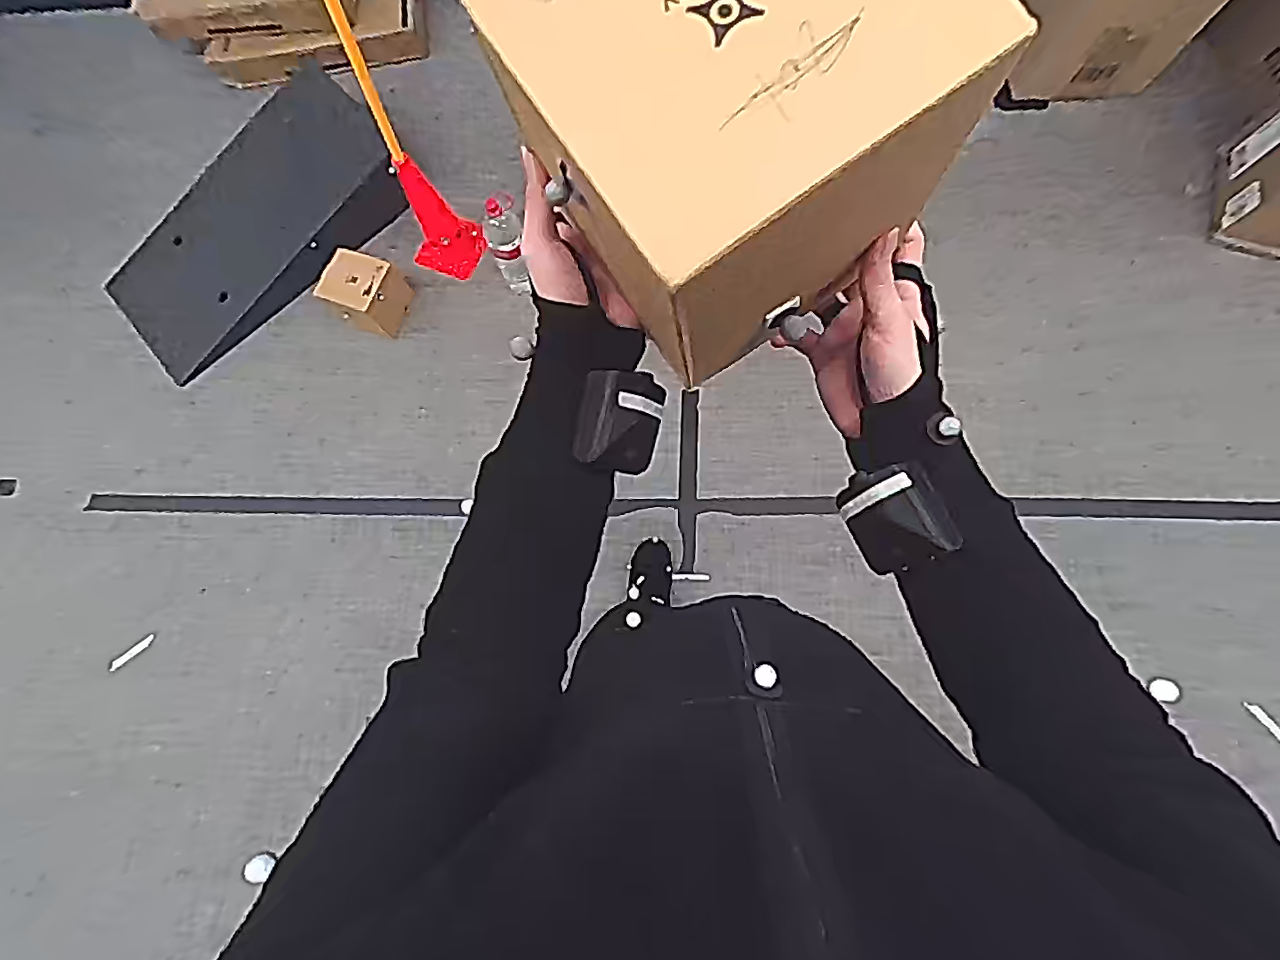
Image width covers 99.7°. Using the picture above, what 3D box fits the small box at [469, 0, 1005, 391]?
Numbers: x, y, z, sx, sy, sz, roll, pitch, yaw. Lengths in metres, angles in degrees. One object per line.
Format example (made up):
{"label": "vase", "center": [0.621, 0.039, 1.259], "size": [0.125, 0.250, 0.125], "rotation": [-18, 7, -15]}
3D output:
{"label": "small box", "center": [0.042, -0.177, 0.308], "size": [0.168, 0.176, 0.179], "rotation": [-33, 81, 4]}
